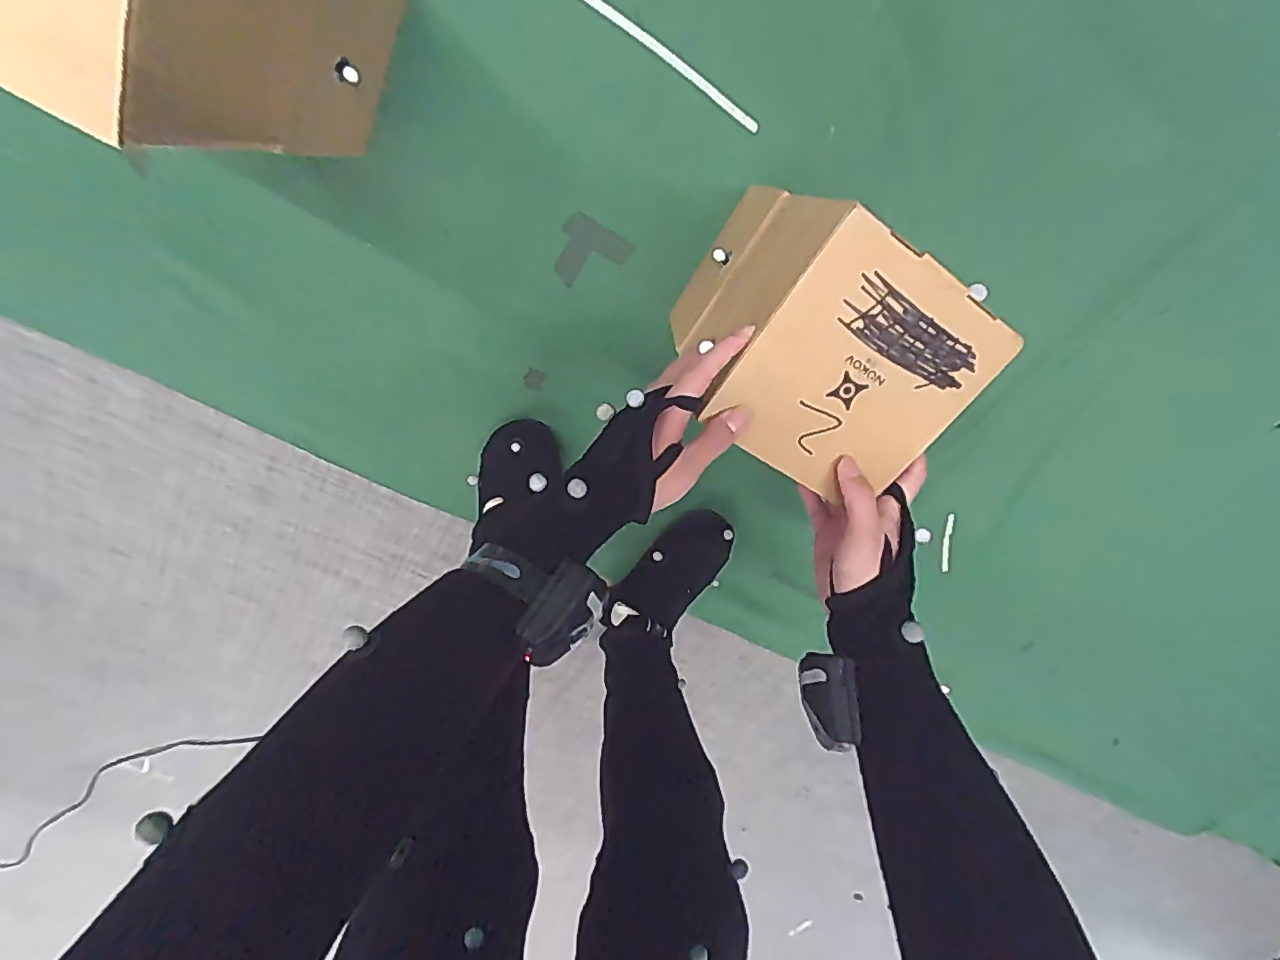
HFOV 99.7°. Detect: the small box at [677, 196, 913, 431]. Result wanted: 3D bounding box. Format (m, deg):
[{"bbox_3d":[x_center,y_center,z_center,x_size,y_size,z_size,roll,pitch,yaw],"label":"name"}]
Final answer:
[{"bbox_3d":[0.151,-0.193,0.604,0.168,0.176,0.179,28,116,-15],"label":"small box"}]
